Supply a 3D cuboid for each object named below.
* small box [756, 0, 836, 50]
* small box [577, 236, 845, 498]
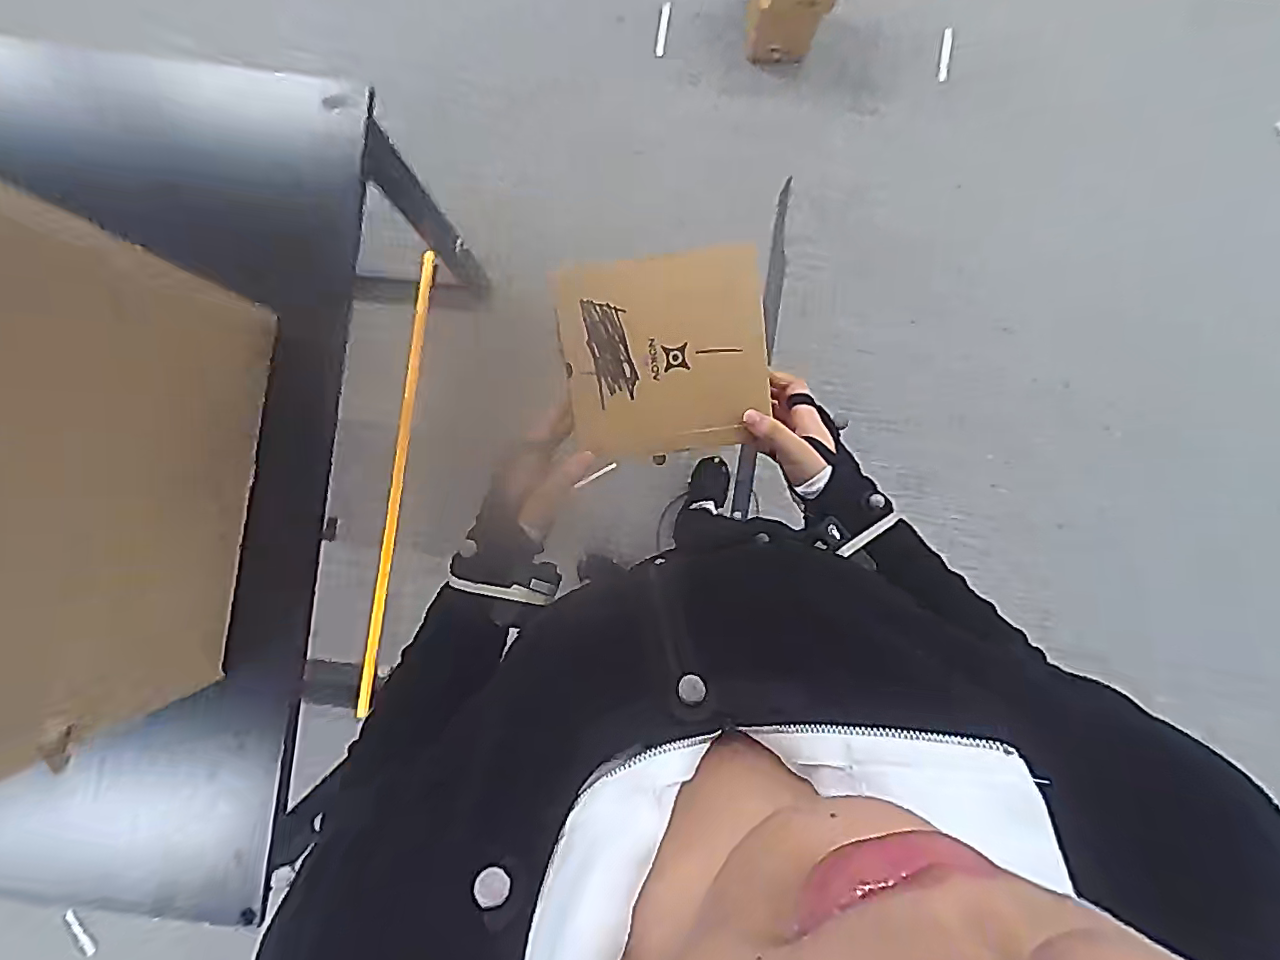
[{"bbox_3d":[0.390,-1.235,1.357,0.168,0.176,0.179,1,91,0],"label":"small box"},{"bbox_3d":[0.049,-0.088,0.454,0.179,0.176,0.168,-8,100,-3],"label":"small box"}]
